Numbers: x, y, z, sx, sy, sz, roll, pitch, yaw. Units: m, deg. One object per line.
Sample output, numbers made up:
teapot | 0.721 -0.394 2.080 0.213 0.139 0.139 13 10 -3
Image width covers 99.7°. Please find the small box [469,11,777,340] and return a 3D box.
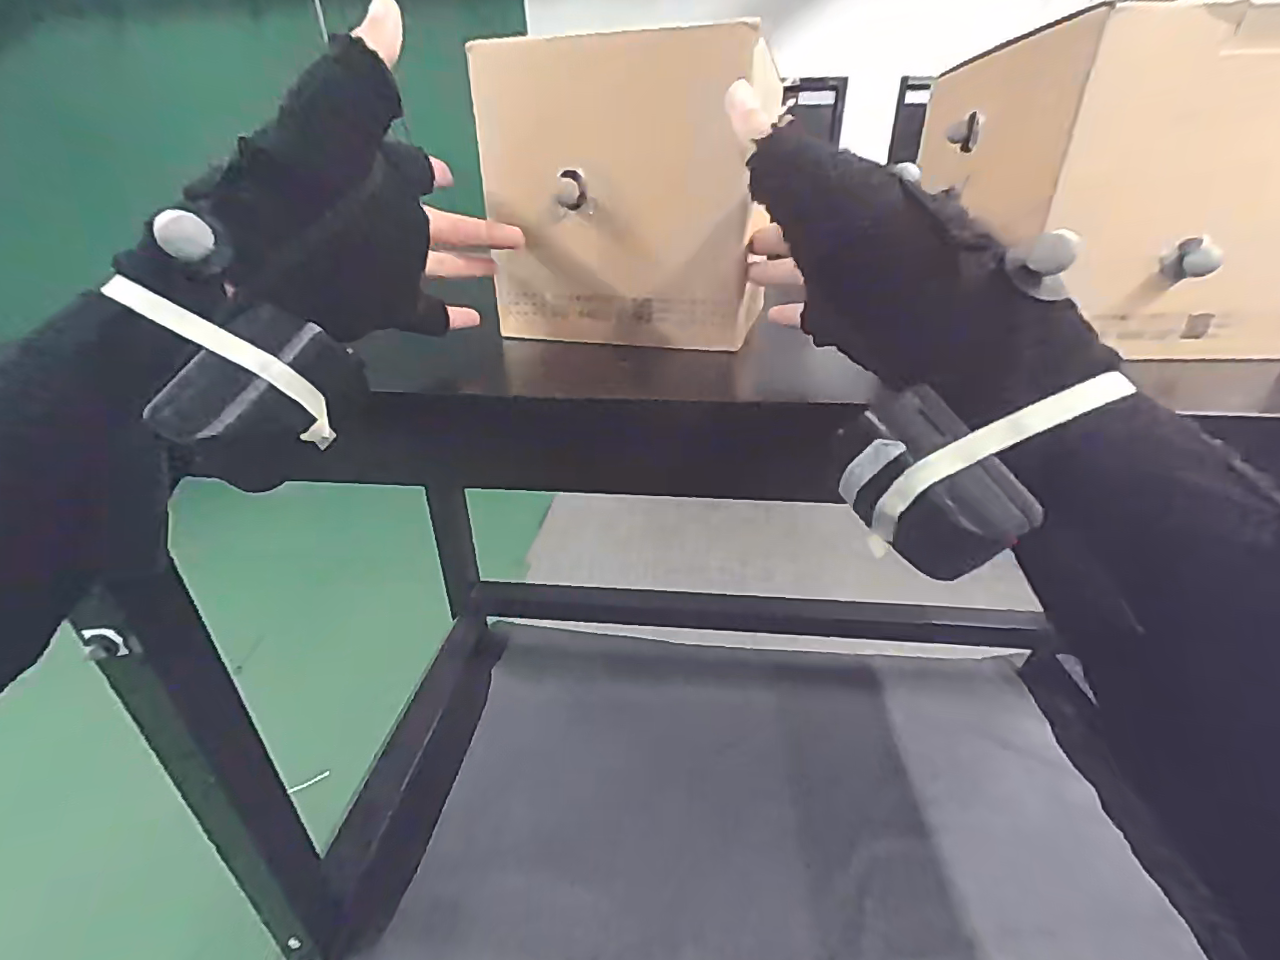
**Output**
small box | 0.003 -0.205 0.400 0.168 0.176 0.179 8 27 16
